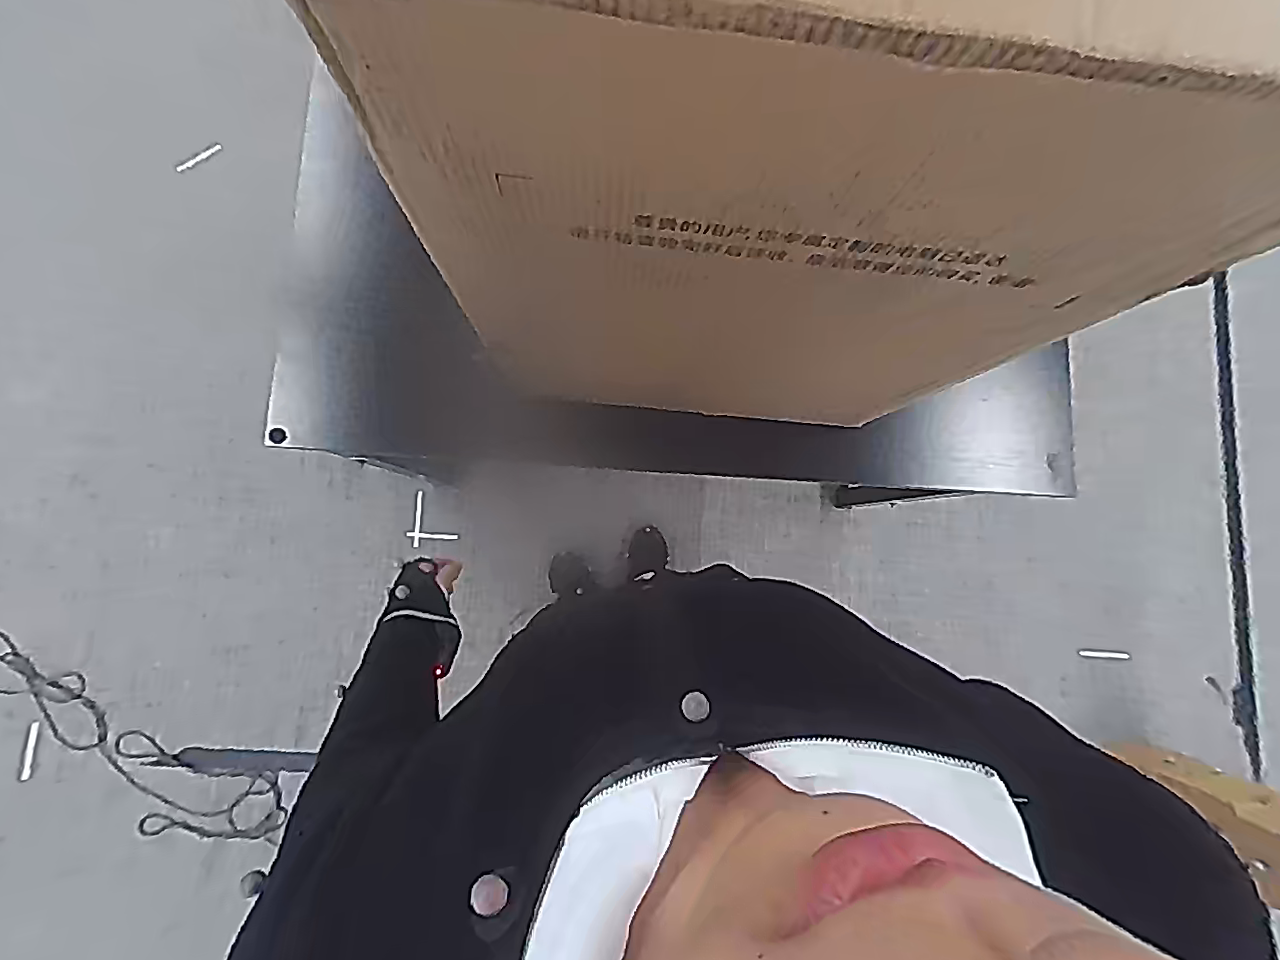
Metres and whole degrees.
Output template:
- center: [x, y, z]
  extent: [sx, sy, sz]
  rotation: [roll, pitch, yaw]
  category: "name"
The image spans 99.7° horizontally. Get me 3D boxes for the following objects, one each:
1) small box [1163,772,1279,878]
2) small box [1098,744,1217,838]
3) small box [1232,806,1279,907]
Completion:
- center: [1.415, 0.820, 1.297]
  extent: [0.168, 0.176, 0.179]
  rotation: [-1, 84, -4]
  category: "small box"
- center: [1.401, 0.832, 1.461]
  extent: [0.179, 0.176, 0.168]
  rotation: [-3, 84, -3]
  category: "small box"
- center: [1.422, 0.811, 1.132]
  extent: [0.179, 0.176, 0.168]
  rotation: [-4, 84, -4]
  category: "small box"
